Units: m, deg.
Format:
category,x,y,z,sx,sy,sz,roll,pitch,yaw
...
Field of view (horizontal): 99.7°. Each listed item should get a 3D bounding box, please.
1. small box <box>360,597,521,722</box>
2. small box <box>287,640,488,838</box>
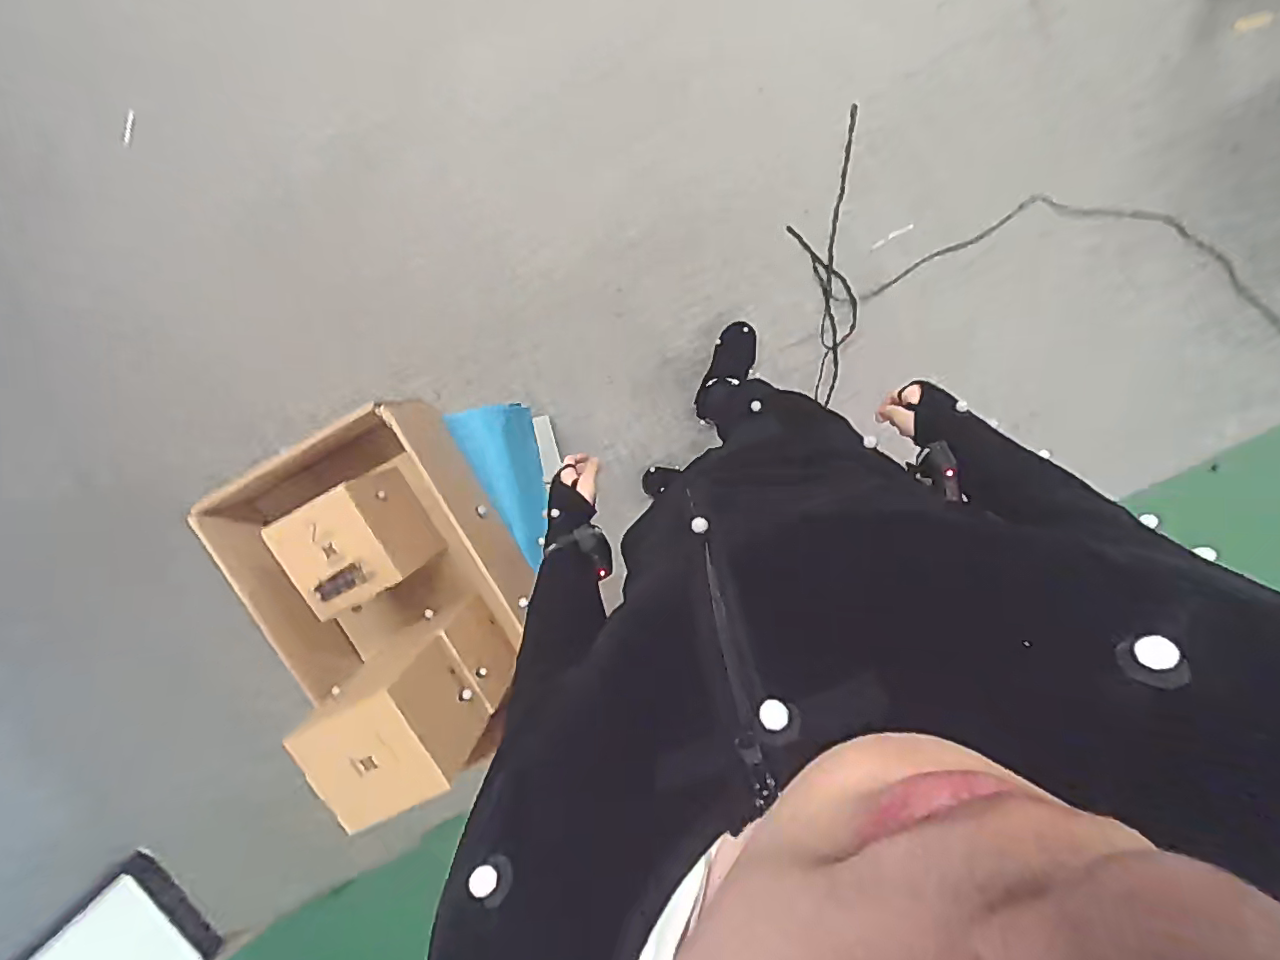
category,x,y,z,sx,sy,sz,roll,pitch,yaw
small box,-0.341,0.338,0.960,0.179,0.176,0.168,-28,97,9
small box,-0.358,0.372,0.801,0.179,0.176,0.168,-28,97,9
